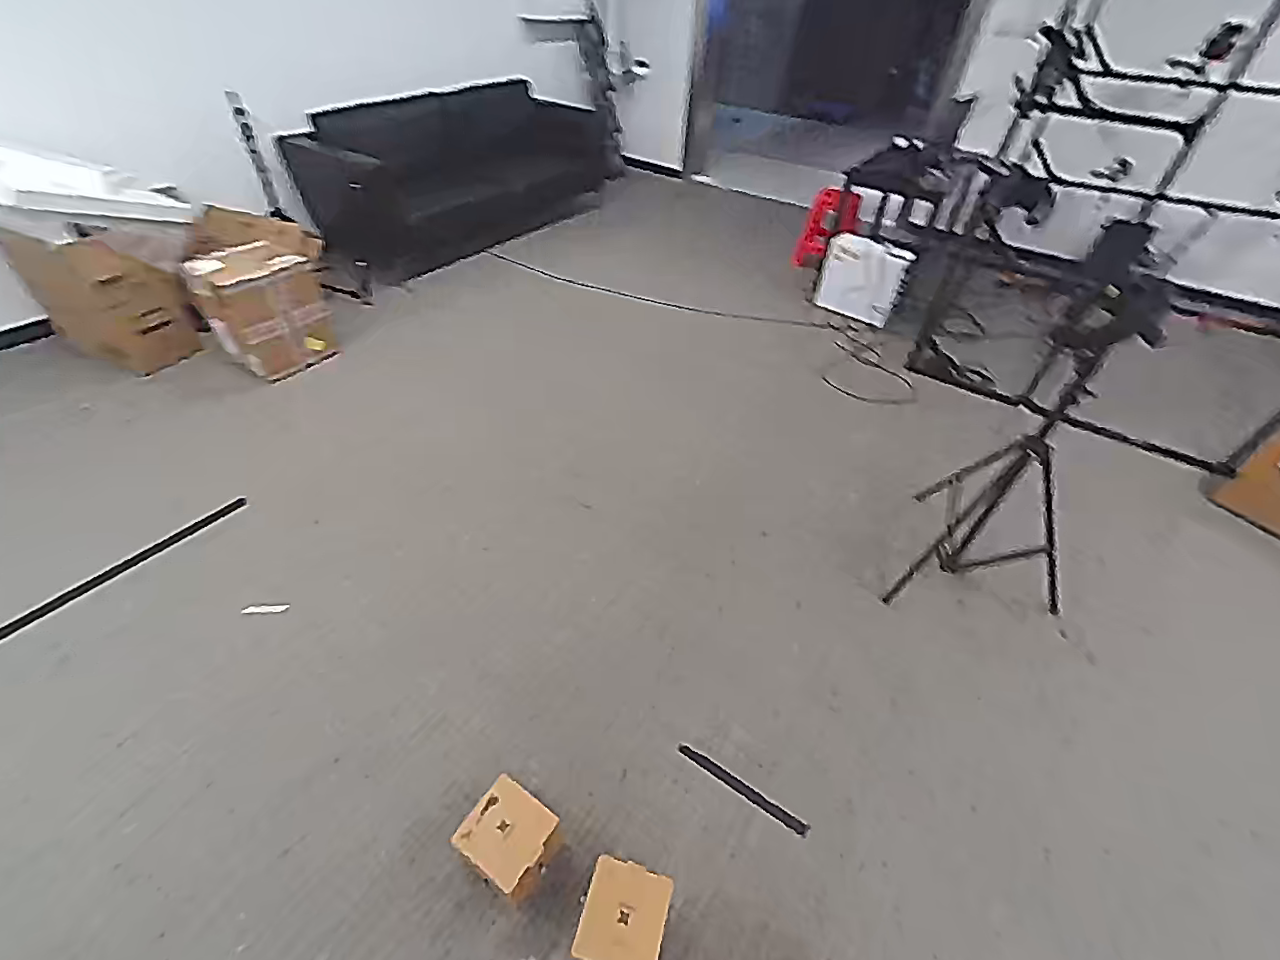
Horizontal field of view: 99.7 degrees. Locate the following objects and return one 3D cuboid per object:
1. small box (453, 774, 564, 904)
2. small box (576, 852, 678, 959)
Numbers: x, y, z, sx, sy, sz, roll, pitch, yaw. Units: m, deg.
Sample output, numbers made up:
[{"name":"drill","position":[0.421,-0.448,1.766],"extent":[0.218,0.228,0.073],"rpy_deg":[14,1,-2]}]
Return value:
[{"name":"small box","position":[-0.287,0.814,1.221],"extent":[0.179,0.176,0.168],"rpy_deg":[26,47,23]},{"name":"small box","position":[-0.026,0.919,1.123],"extent":[0.168,0.176,0.179],"rpy_deg":[12,44,11]}]
